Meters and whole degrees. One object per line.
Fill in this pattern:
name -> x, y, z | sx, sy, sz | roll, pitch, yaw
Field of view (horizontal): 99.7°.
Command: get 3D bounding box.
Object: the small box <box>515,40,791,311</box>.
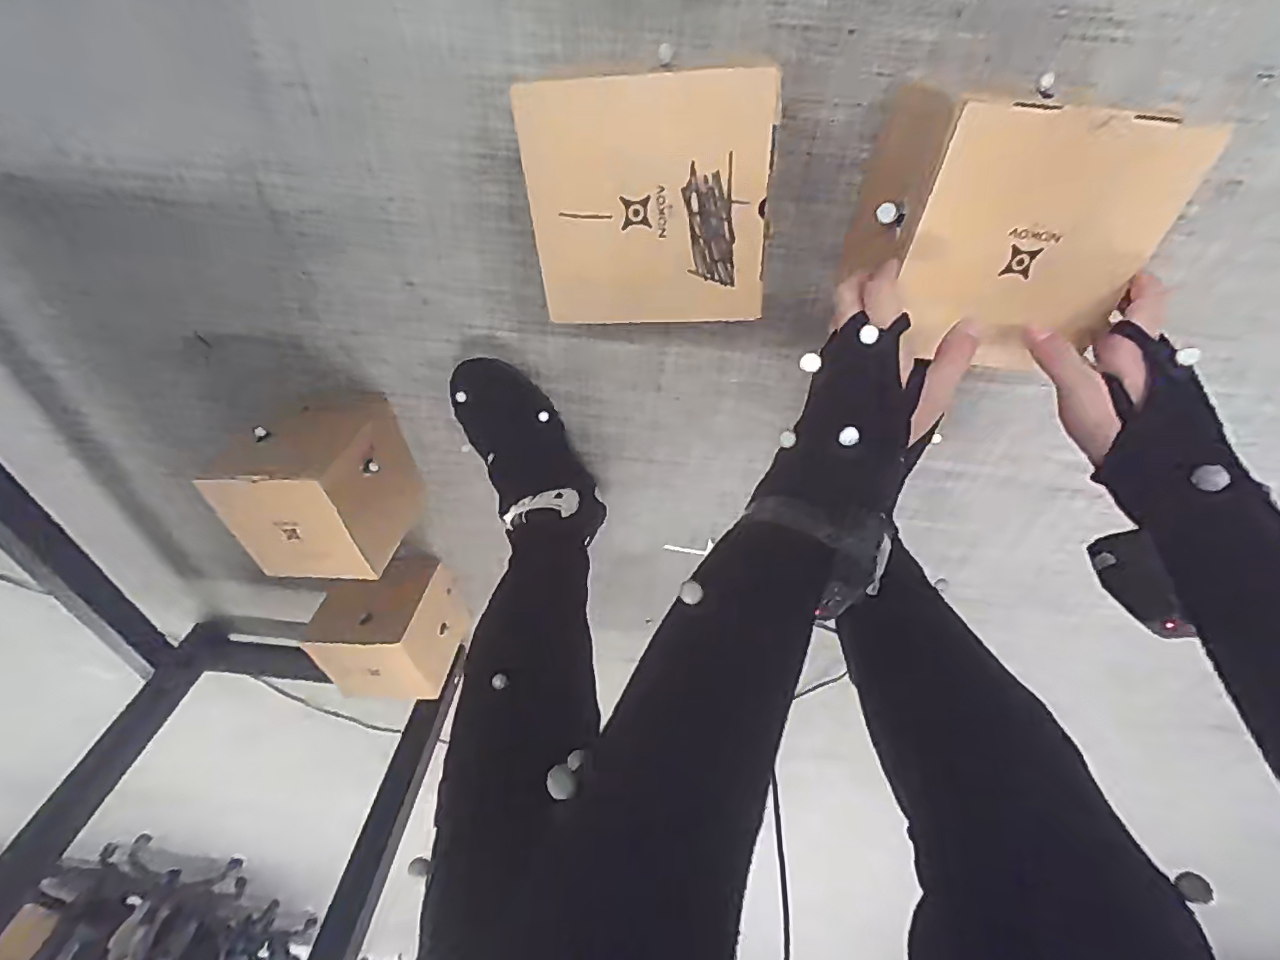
small box -> 0.016, -0.252, 0.446 | 0.179, 0.176, 0.168 | 2, 130, 6

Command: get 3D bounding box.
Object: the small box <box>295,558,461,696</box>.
small box -> -0.422, 0.244, 0.914 | 0.179, 0.176, 0.168 | -1, 130, 8

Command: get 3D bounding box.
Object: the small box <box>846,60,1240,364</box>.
small box -> 0.282, -0.220, 0.440 | 0.168, 0.176, 0.179 | 7, 130, 1

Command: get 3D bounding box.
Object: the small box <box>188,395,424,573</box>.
small box -> -0.416, 0.000, 0.711 | 0.168, 0.176, 0.179 | 1, 131, 7
